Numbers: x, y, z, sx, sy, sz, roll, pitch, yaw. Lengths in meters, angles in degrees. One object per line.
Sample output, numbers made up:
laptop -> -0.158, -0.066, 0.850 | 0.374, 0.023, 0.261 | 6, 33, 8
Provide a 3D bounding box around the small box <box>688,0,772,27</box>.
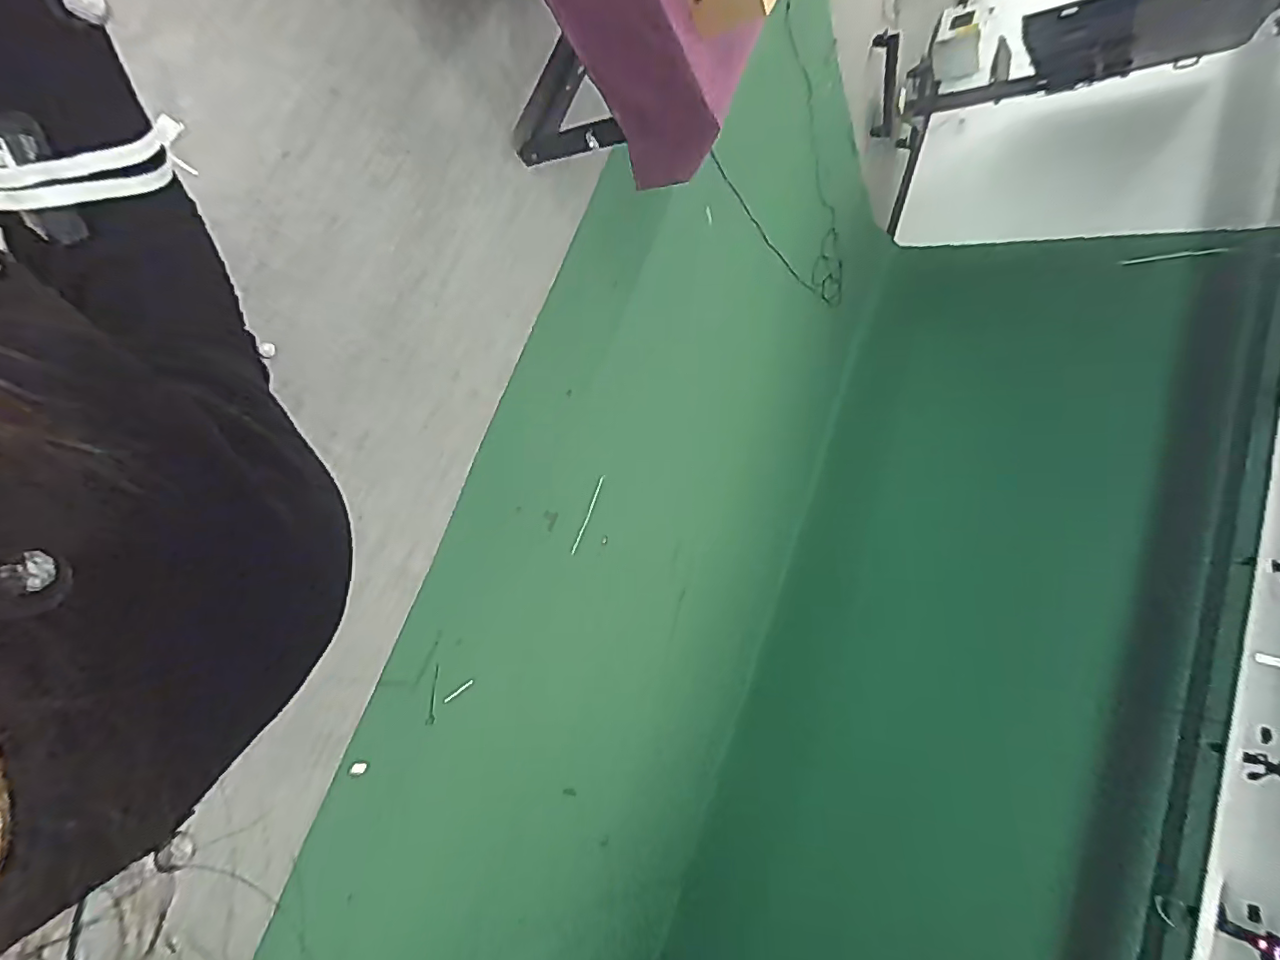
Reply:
small box -> 0.194, -1.109, 1.144 | 0.179, 0.176, 0.168 | 45, 64, -50
